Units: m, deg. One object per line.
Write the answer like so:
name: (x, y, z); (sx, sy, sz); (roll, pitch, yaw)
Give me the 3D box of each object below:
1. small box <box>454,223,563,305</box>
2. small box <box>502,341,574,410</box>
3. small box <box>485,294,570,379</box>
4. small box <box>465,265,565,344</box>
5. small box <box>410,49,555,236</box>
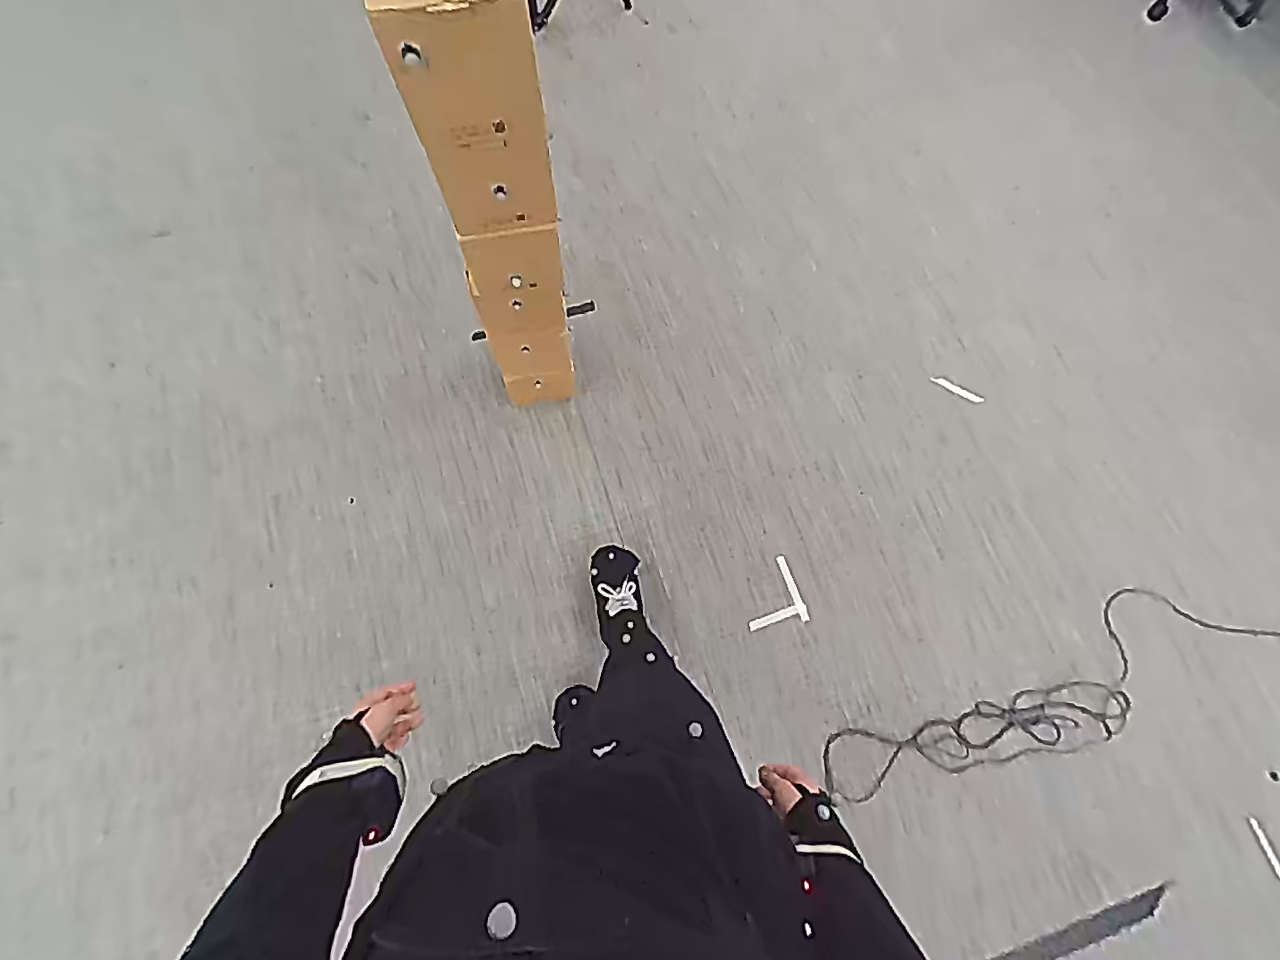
small box: (-0.236, -0.445, 0.977); (0.168, 0.176, 0.179); (-9, 77, -5)
small box: (-0.274, -0.300, 1.444); (0.179, 0.176, 0.168); (-9, 76, -6)
small box: (-0.267, -0.352, 1.288); (0.179, 0.176, 0.168); (-6, 76, -5)
small box: (-0.259, -0.402, 1.134); (0.179, 0.176, 0.168); (-9, 76, -7)
small box: (-0.229, -0.497, 0.821); (0.168, 0.176, 0.179); (-12, 77, -6)
